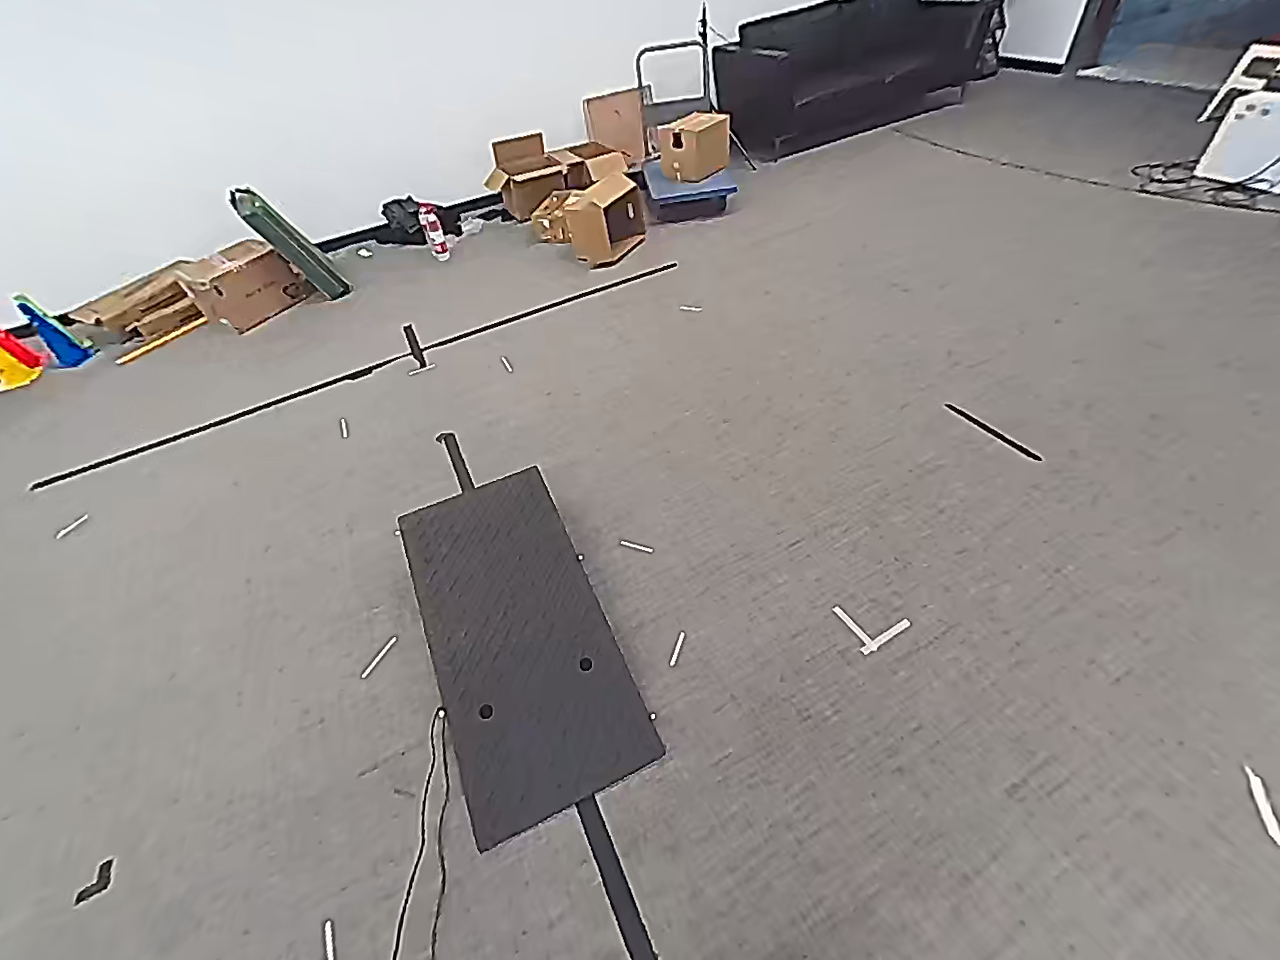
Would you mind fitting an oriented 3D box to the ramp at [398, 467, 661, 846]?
[{"bbox_3d":[-0.366,0.408,1.577,0.509,0.206,0.991,-23,48,-15],"label":"ramp"}]
